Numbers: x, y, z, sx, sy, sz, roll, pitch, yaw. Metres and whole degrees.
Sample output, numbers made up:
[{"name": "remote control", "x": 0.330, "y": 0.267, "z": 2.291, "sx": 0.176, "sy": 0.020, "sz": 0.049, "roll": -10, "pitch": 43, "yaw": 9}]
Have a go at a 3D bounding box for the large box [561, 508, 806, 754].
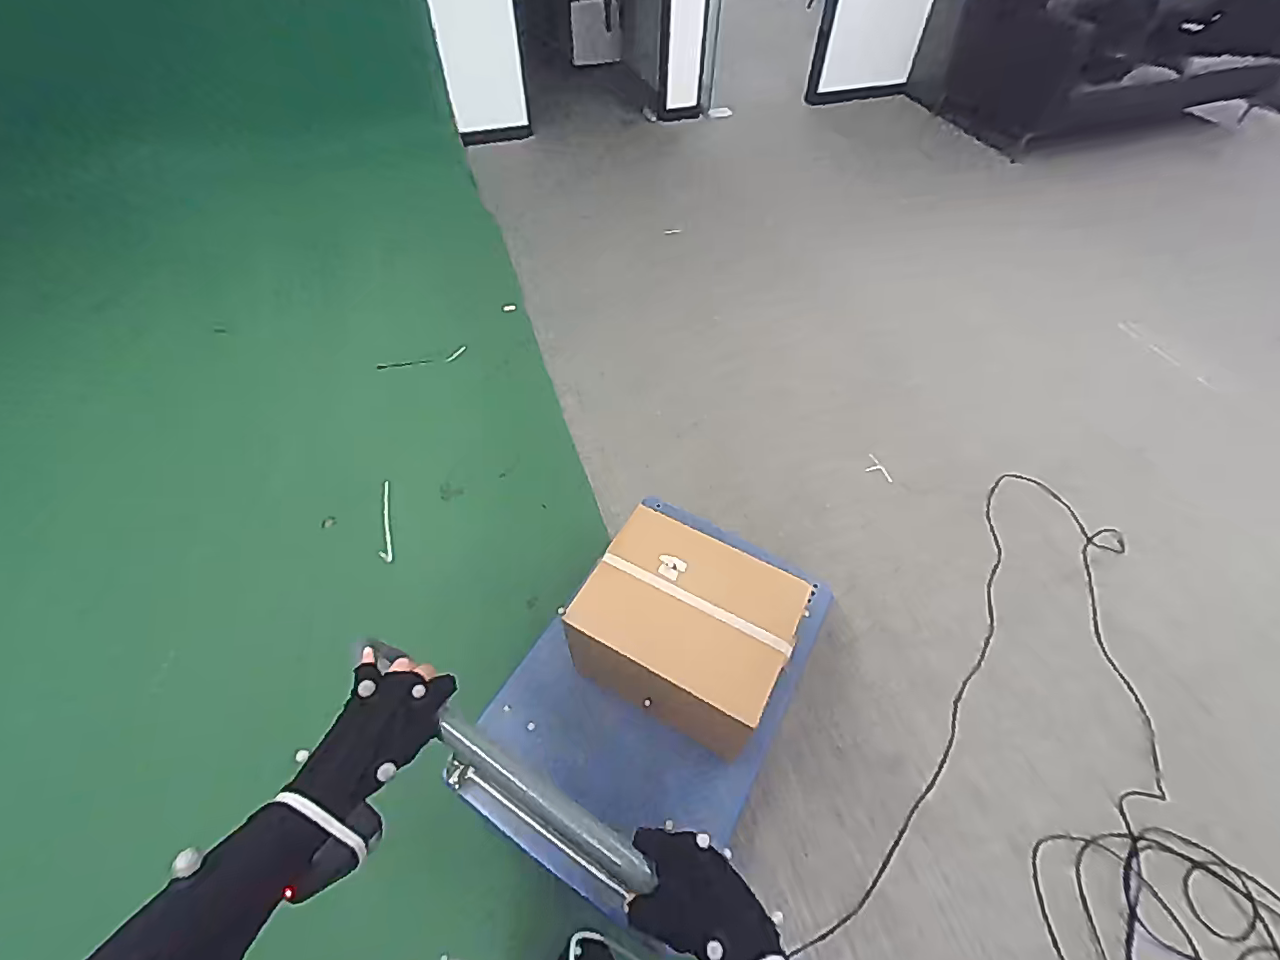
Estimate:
[{"name": "large box", "x": 0.094, "y": 0.330, "z": 1.184, "sx": 0.408, "sy": 0.320, "sz": 0.320, "roll": 24, "pitch": 55, "yaw": 17}]
